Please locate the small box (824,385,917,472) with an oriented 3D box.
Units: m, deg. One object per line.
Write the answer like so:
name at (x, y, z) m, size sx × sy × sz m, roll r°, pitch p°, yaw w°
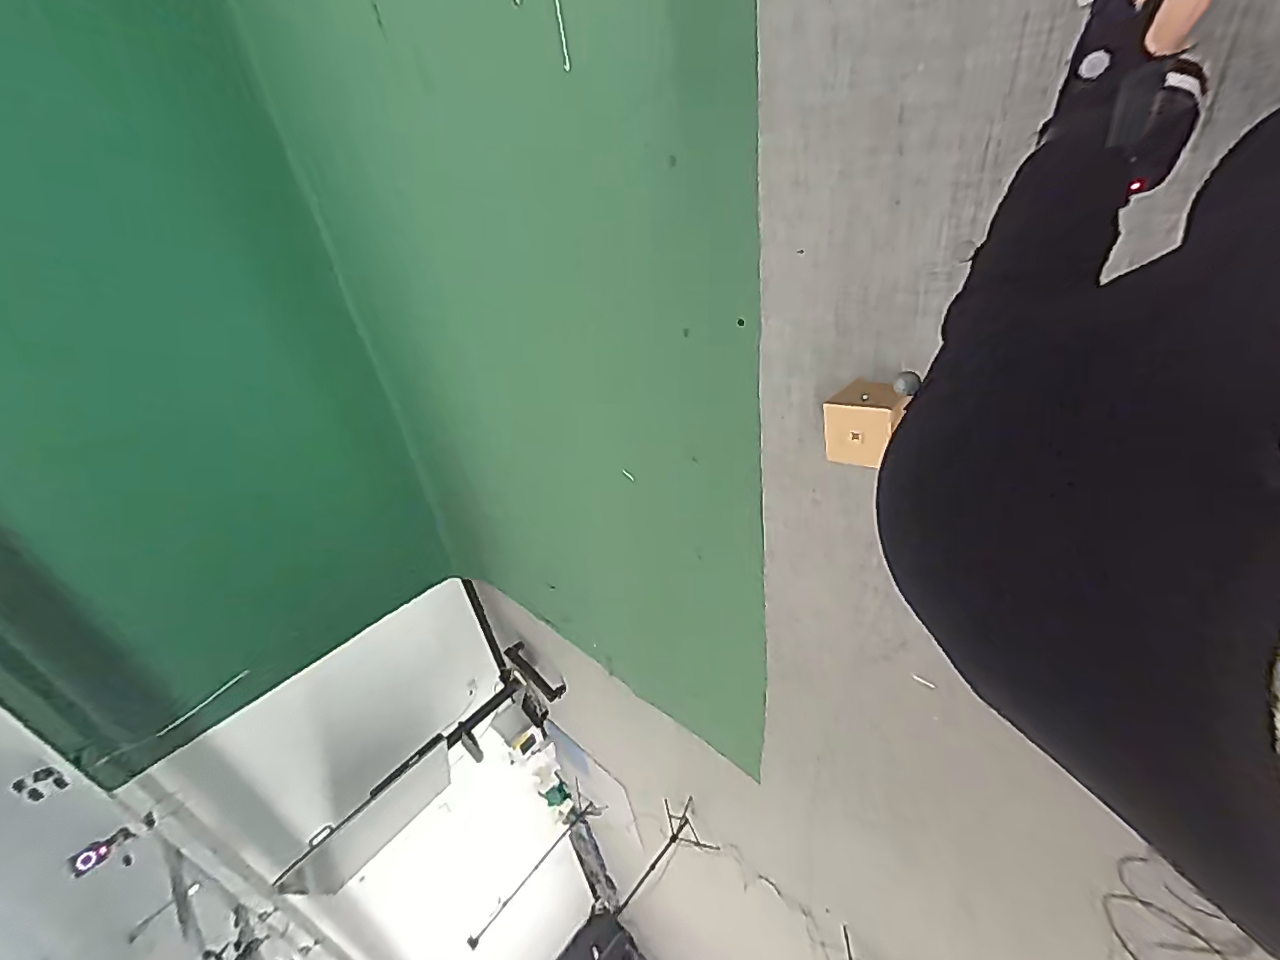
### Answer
small box at (0.602, -0.140, 1.405) m, size 0.179 × 0.176 × 0.168 m, roll 14°, pitch 126°, yaw 44°
